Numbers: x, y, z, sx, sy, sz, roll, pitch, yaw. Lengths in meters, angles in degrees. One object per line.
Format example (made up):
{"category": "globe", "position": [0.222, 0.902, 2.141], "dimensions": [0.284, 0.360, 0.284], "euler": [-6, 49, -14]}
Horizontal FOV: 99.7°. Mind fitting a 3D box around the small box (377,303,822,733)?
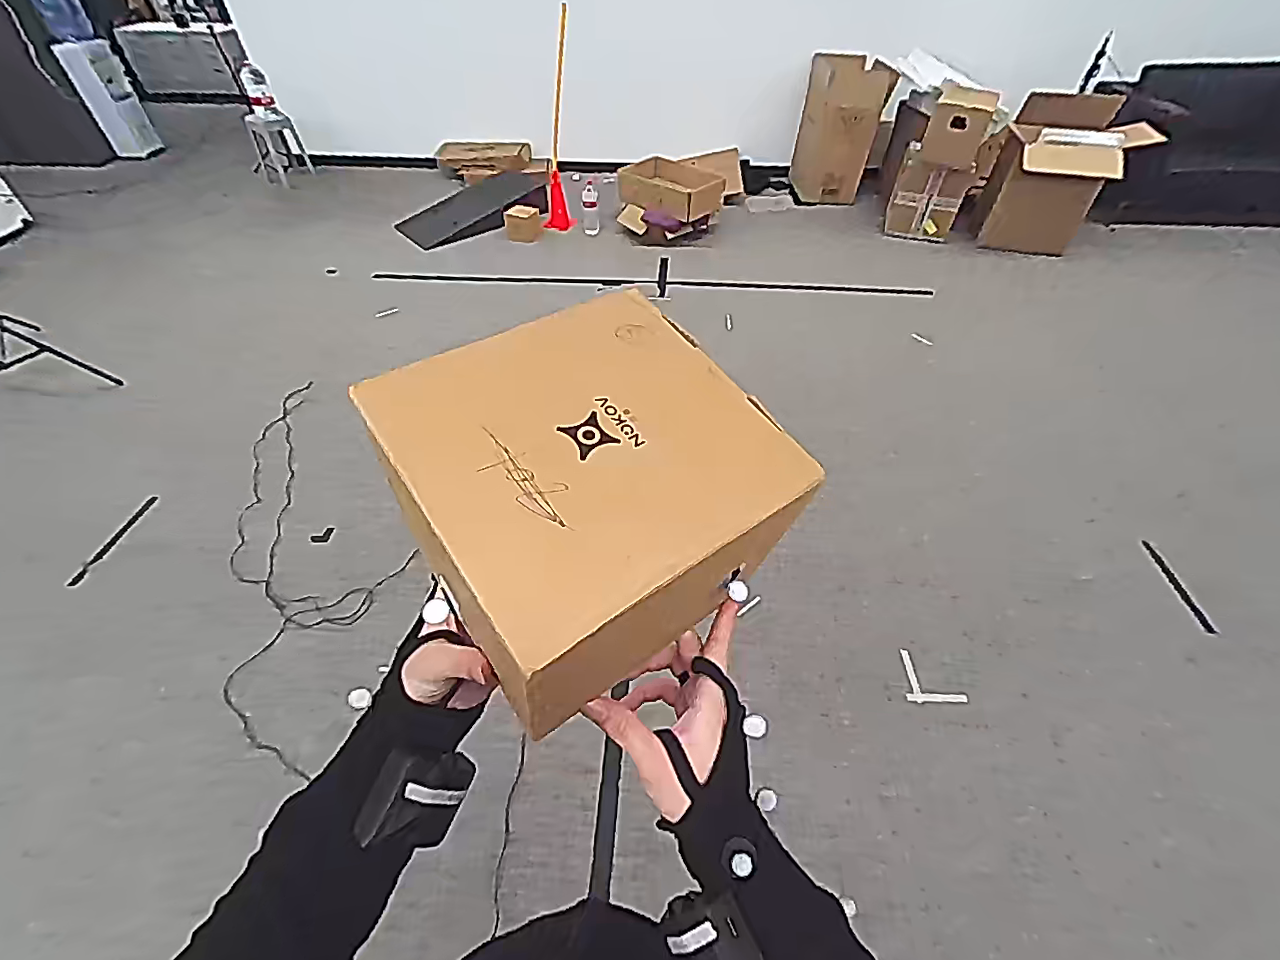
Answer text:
{"category": "small box", "position": [-0.029, 0.027, 0.342], "dimensions": [0.179, 0.176, 0.168], "euler": [-31, 66, -25]}
